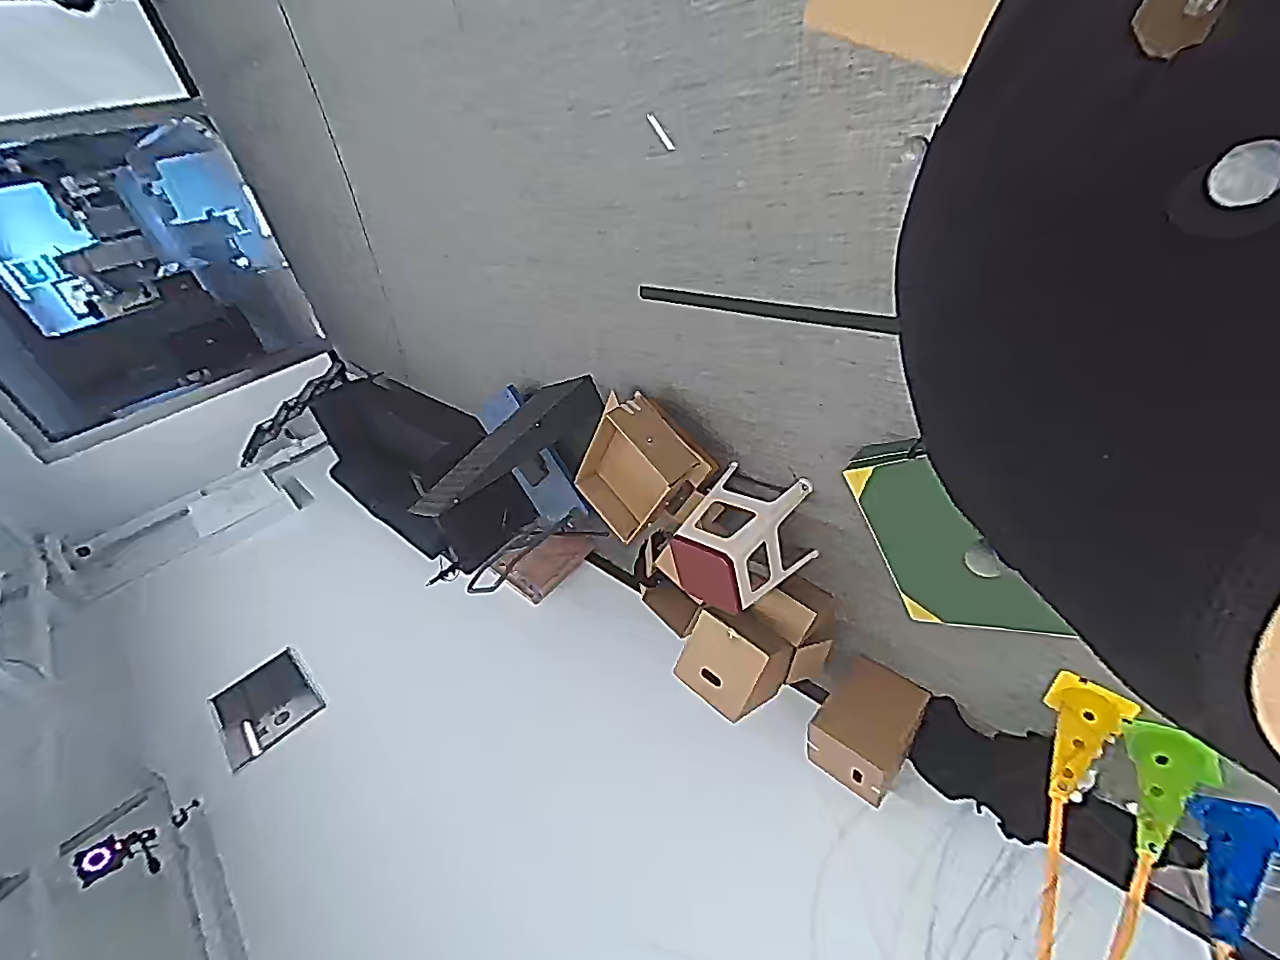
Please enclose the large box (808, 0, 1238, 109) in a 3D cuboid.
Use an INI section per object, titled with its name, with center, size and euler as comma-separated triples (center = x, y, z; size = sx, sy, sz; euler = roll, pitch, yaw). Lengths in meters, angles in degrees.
[large box]
center = 0.476, -0.648, 0.610
size = 0.320, 0.408, 0.320
euler = 53, 147, 30
